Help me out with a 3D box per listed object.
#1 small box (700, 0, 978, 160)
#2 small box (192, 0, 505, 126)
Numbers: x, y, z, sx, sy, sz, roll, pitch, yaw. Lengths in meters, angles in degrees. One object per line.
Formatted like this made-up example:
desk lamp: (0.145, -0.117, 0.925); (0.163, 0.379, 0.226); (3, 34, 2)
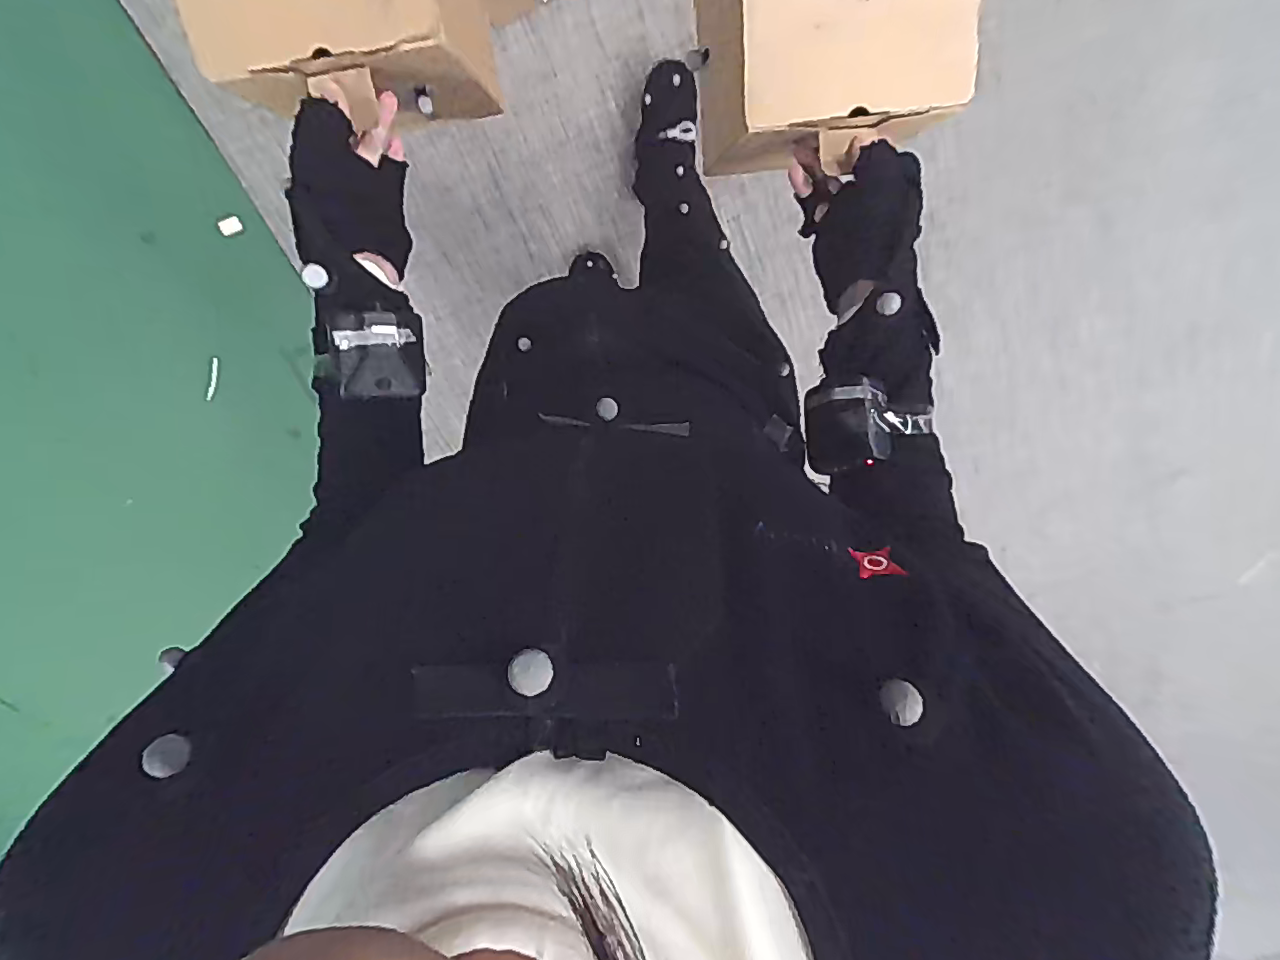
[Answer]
small box: (0.145, -0.373, 0.437); (0.168, 0.176, 0.179); (-7, 110, -2)
small box: (-0.212, -0.390, 0.405); (0.168, 0.176, 0.179); (-7, 108, 3)
